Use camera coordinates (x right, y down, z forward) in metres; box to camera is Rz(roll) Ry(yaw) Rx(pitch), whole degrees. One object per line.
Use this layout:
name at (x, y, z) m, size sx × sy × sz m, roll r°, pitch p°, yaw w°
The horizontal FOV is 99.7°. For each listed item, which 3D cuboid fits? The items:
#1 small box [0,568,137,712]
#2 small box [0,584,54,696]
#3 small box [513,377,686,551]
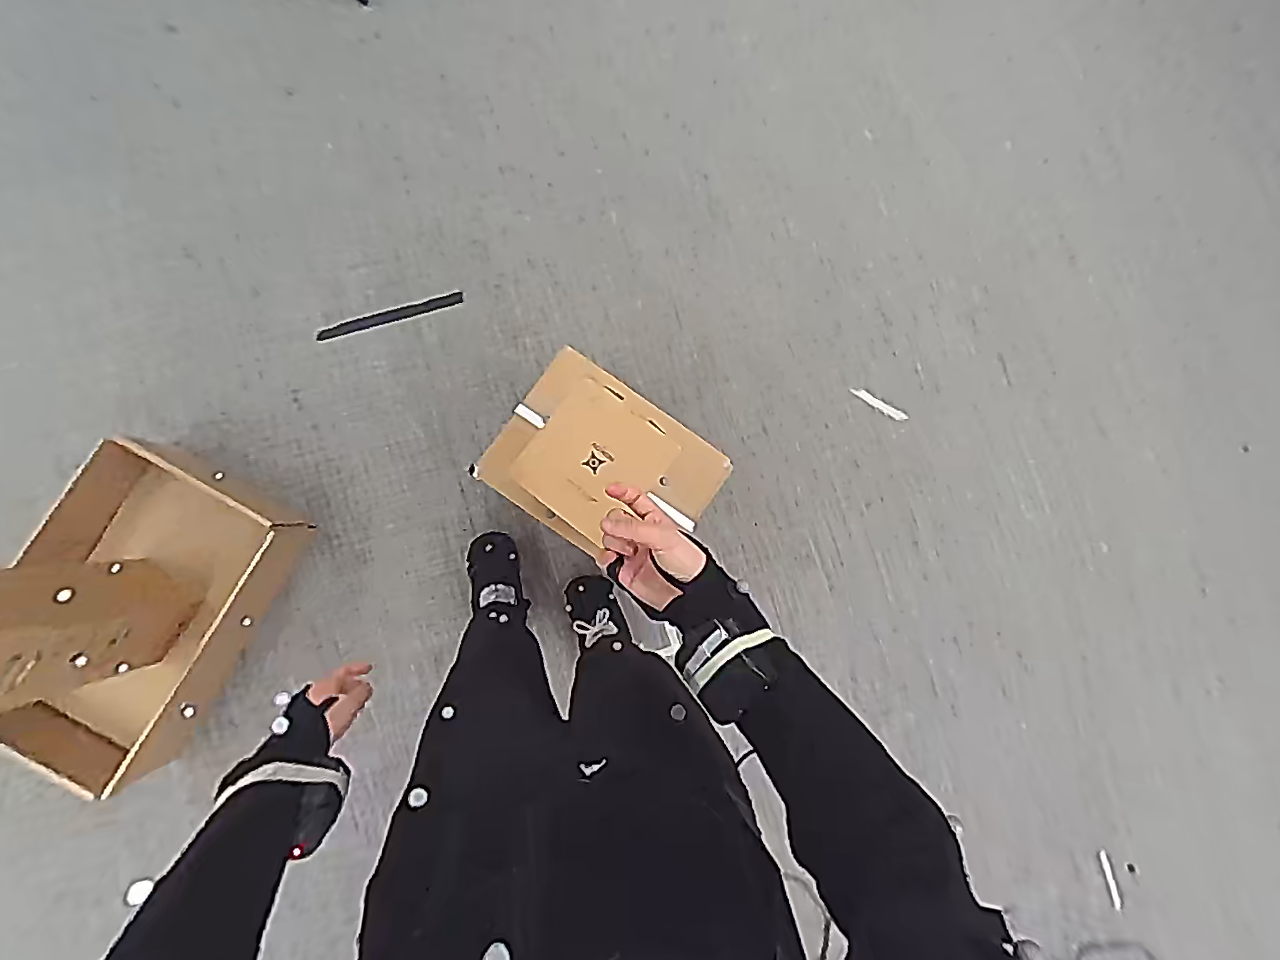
small box at (-1.070, 0.268, 0.956) m, size 0.179 × 0.176 × 0.168 m, roll 34°, pitch 83°, yaw -1°
small box at (-1.061, 0.244, 0.795) m, size 0.179 × 0.176 × 0.168 m, roll 33°, pitch 83°, yaw -1°
small box at (-0.060, -0.017, 0.792) m, size 0.168 × 0.176 × 0.179 m, roll 38°, pitch 85°, yaw 0°
